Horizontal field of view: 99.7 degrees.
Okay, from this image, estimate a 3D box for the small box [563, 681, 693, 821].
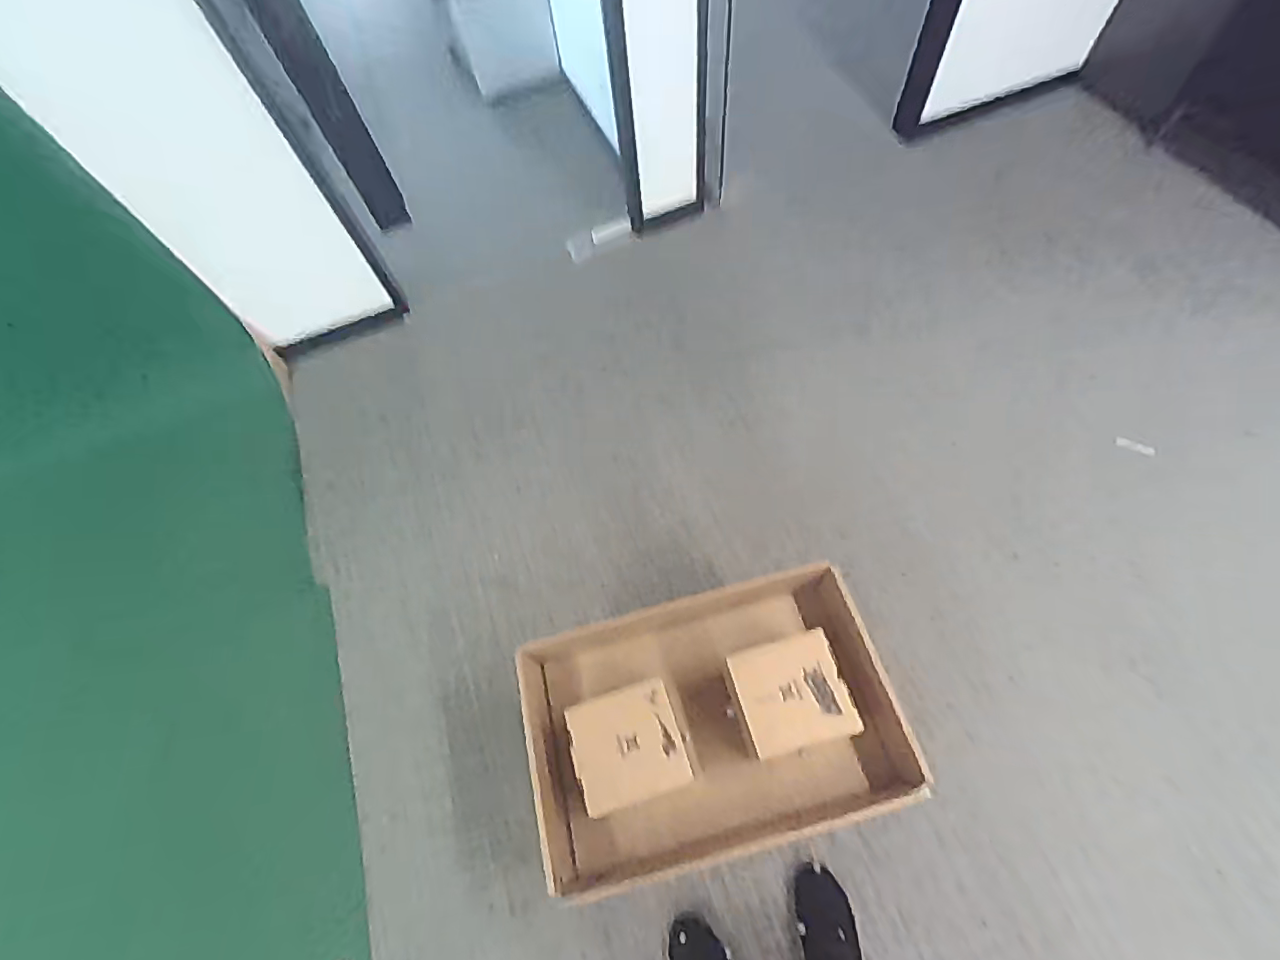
[{"bbox_3d":[-0.015,0.465,0.930,0.179,0.176,0.168,-18,62,-3],"label":"small box"}]
